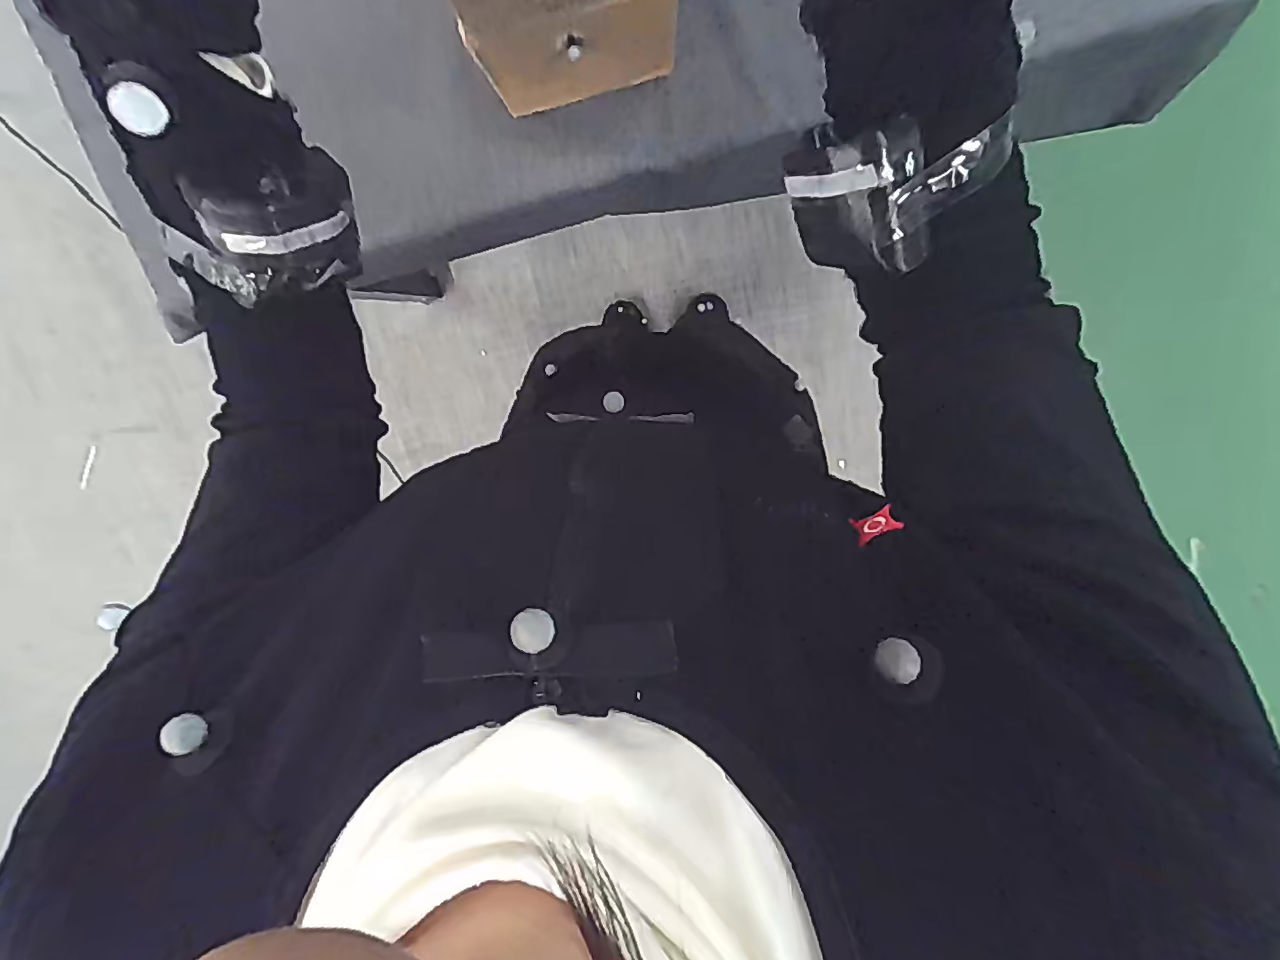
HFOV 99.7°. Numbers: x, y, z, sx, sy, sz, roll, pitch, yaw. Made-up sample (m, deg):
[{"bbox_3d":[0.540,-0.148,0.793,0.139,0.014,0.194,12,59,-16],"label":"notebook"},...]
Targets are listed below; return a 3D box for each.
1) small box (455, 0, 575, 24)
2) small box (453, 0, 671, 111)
[{"bbox_3d":[-0.073,-0.413,0.315,0.168,0.176,0.179,-14,107,6],"label":"small box"},{"bbox_3d":[-0.070,-0.458,0.472,0.179,0.176,0.168,-13,107,4],"label":"small box"}]
